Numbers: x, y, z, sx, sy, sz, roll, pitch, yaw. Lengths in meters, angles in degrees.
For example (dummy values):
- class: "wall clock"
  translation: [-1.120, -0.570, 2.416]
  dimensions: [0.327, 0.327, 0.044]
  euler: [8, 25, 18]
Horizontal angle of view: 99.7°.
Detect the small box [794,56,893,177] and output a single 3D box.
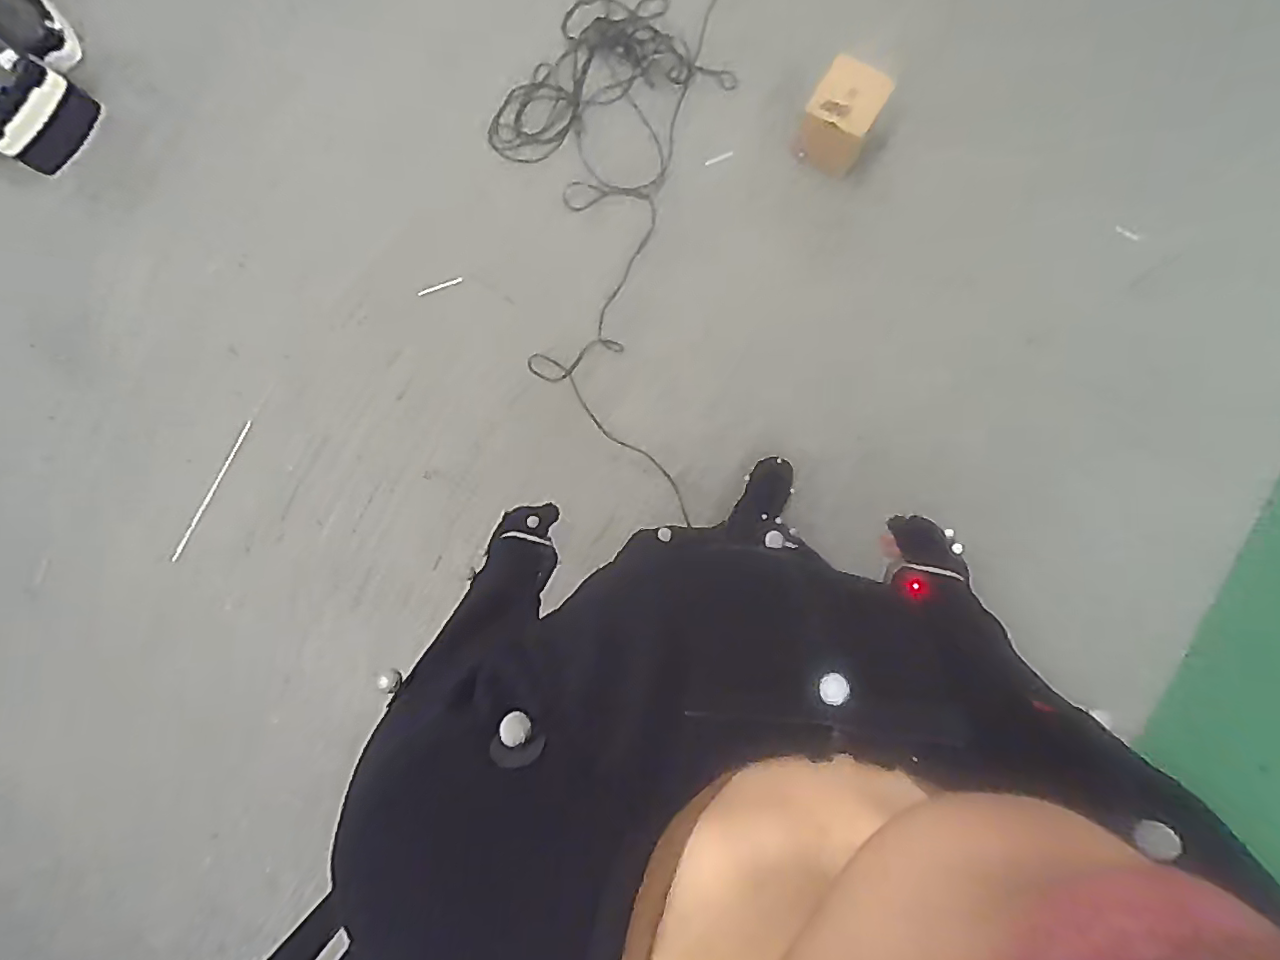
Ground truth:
- class: "small box"
  translation: [0.528, -0.953, 1.435]
  dimensions: [0.168, 0.176, 0.179]
  euler: [32, 89, 6]
